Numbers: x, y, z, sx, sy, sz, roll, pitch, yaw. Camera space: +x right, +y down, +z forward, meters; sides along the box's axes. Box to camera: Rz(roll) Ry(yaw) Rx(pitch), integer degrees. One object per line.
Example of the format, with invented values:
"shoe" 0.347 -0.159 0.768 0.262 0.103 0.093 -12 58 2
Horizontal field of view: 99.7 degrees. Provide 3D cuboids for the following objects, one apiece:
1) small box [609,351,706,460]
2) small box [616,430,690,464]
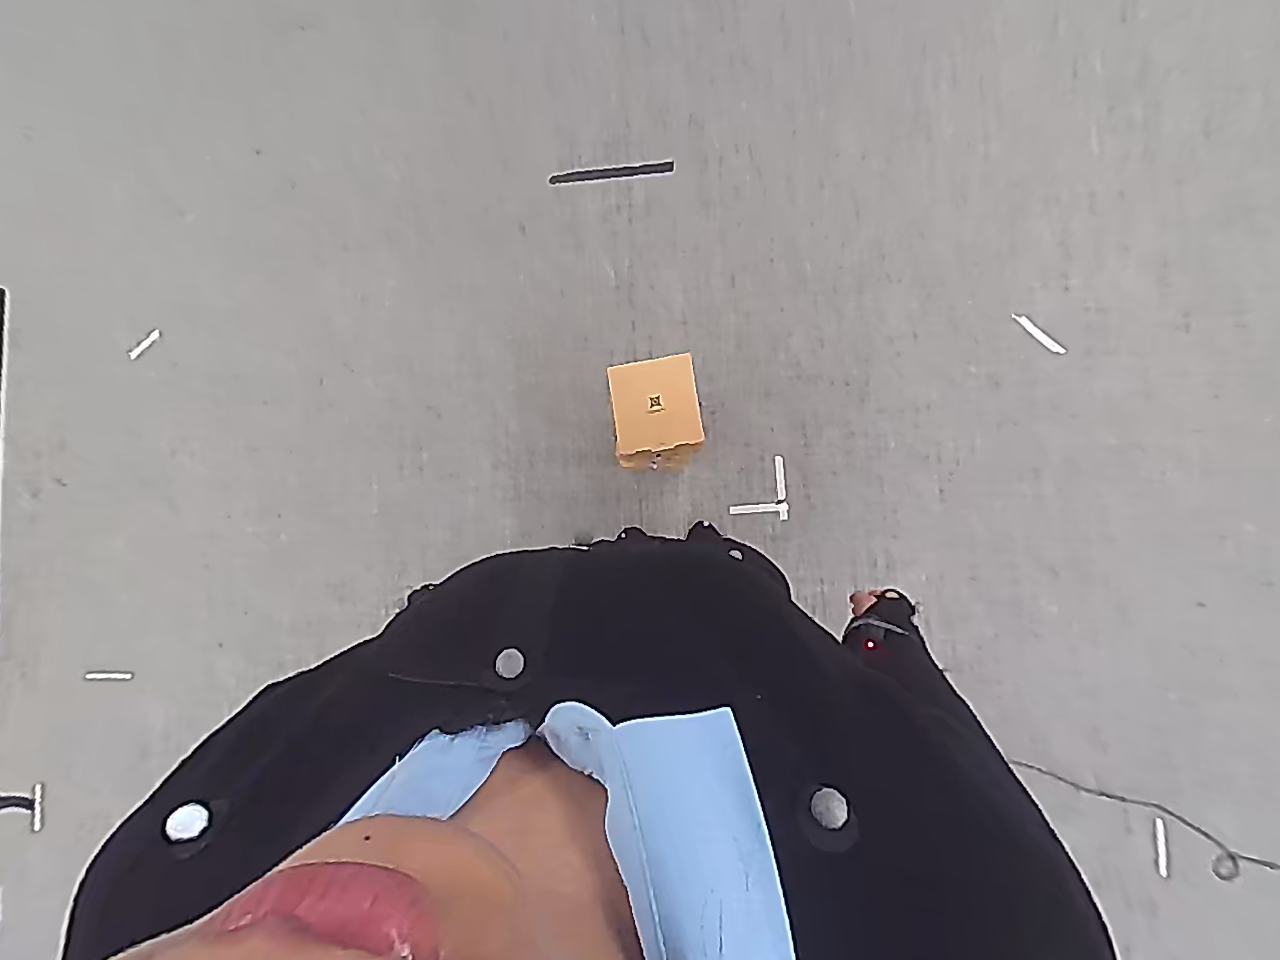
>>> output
"small box" 0.037 -0.144 1.105 0.168 0.176 0.179 -10 87 5
"small box" 0.039 -0.134 1.268 0.168 0.176 0.179 2 88 6
